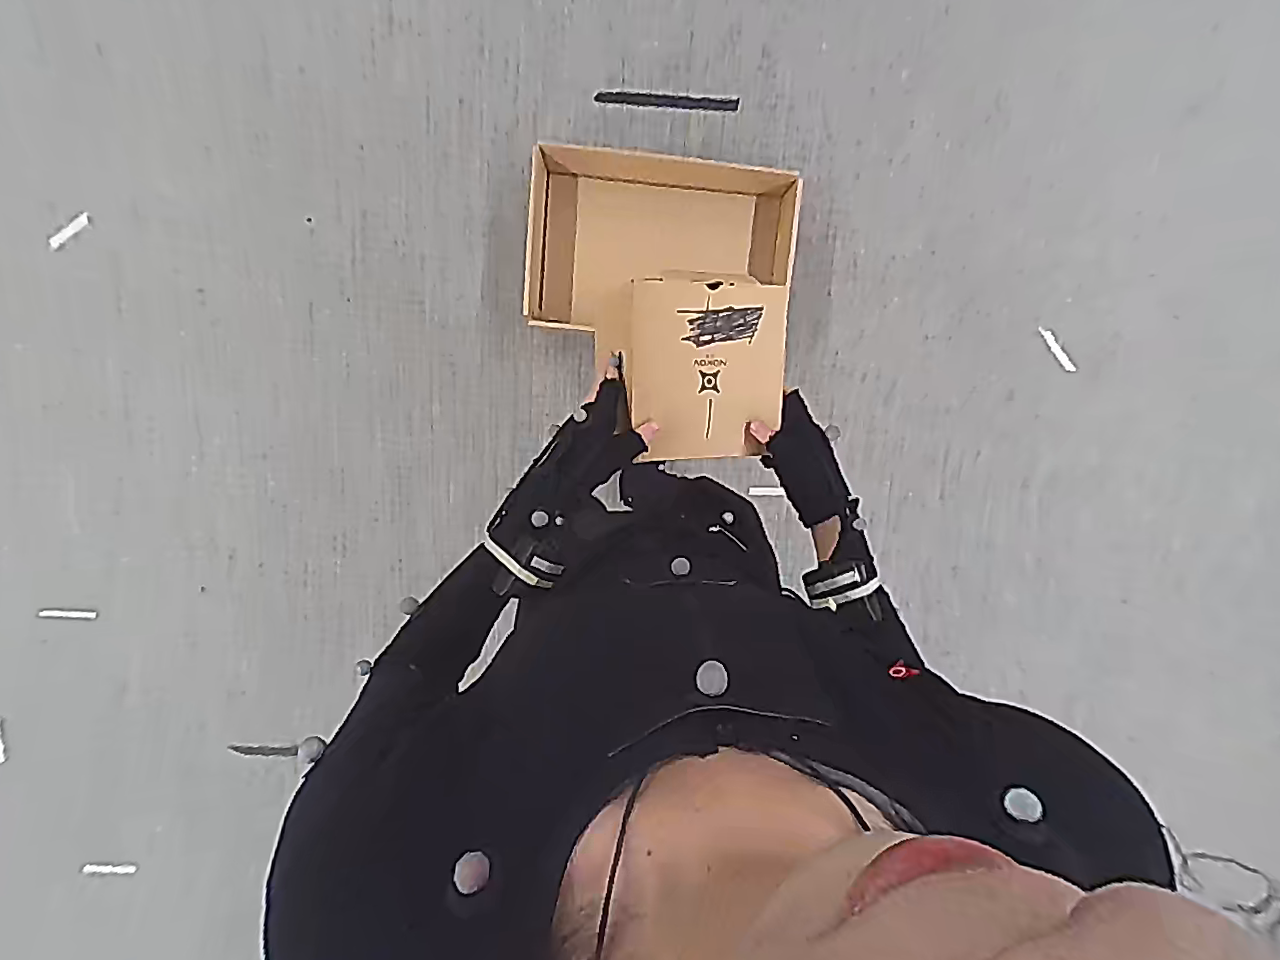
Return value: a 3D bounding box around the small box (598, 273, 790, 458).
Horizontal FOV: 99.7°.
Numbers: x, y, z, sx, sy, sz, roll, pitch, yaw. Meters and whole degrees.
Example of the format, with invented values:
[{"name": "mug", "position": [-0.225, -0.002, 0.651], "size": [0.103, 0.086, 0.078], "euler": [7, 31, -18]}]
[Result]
[{"name": "small box", "position": [0.049, -0.124, 0.612], "size": [0.168, 0.176, 0.179], "euler": [-4, 102, -17]}]
